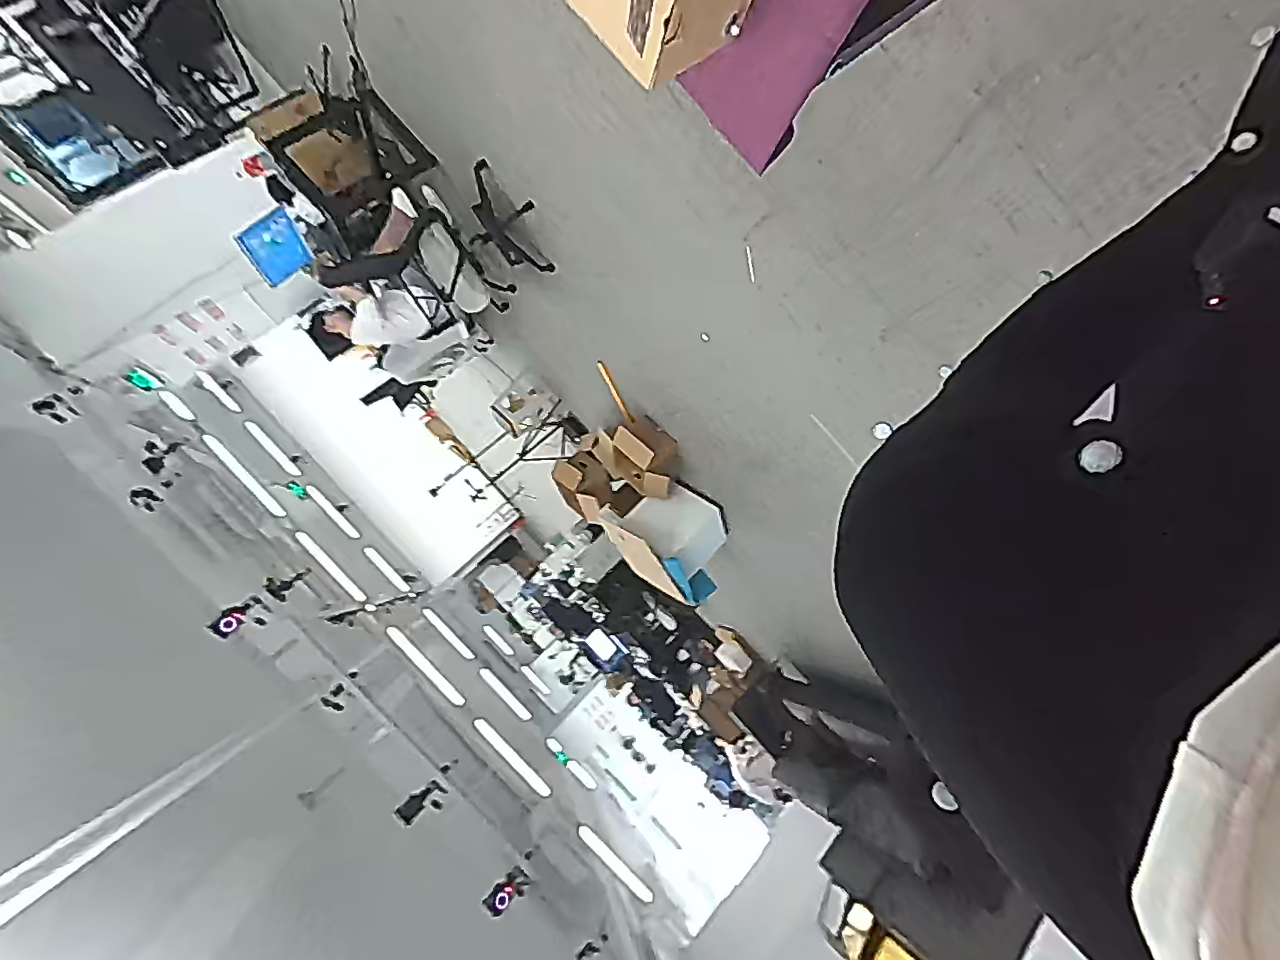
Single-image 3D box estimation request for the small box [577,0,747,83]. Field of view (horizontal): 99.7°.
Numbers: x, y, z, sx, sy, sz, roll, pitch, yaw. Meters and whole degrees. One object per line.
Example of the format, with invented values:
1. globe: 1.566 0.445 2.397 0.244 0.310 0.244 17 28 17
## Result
1. small box: 0.036 -0.615 0.609 0.179 0.176 0.168 49 162 -1
